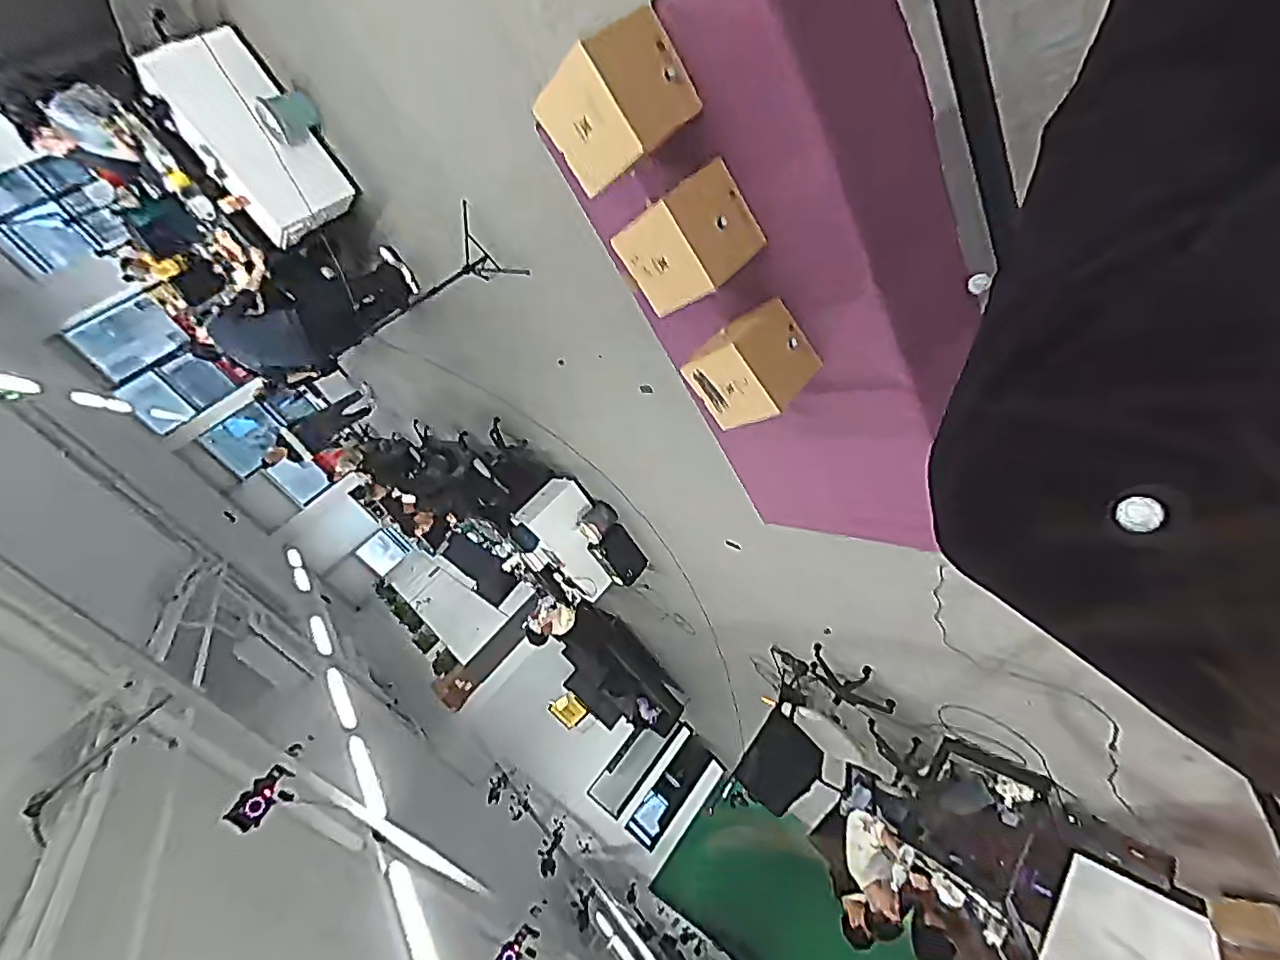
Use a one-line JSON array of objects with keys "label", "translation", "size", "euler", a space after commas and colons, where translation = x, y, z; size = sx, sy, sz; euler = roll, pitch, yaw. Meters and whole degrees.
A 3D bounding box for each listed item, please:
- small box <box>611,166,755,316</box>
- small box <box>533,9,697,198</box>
[{"label": "small box", "translation": [0.086, -0.436, 0.995], "size": [0.168, 0.176, 0.179], "euler": [53, 155, -20]}, {"label": "small box", "translation": [-0.039, -0.613, 0.894], "size": [0.168, 0.176, 0.179], "euler": [52, 156, -23]}]
